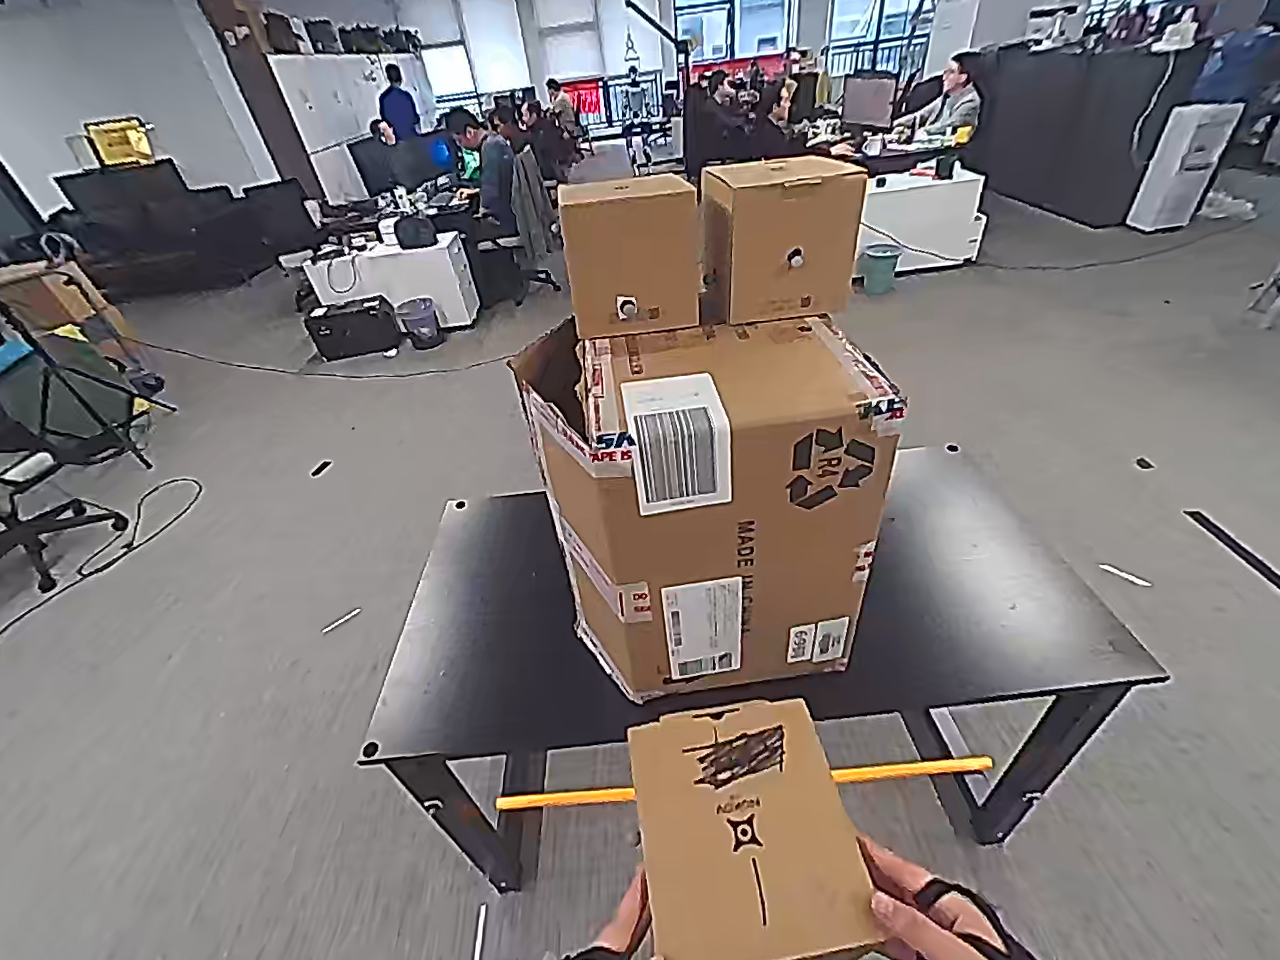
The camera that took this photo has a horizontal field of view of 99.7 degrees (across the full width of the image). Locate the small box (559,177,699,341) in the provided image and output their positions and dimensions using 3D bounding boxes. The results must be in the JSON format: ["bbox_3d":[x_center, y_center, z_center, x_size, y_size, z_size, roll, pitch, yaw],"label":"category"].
[{"bbox_3d":[-0.017,-0.307,0.747,0.168,0.176,0.179,-9,36,-3],"label":"small box"}]

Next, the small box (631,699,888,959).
[{"bbox_3d":[0.086,0.329,0.487,0.168,0.176,0.179,-9,43,-4],"label":"small box"}]

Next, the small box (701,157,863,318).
[{"bbox_3d":[0.182,-0.331,0.747,0.168,0.176,0.179,-7,38,-4],"label":"small box"}]
